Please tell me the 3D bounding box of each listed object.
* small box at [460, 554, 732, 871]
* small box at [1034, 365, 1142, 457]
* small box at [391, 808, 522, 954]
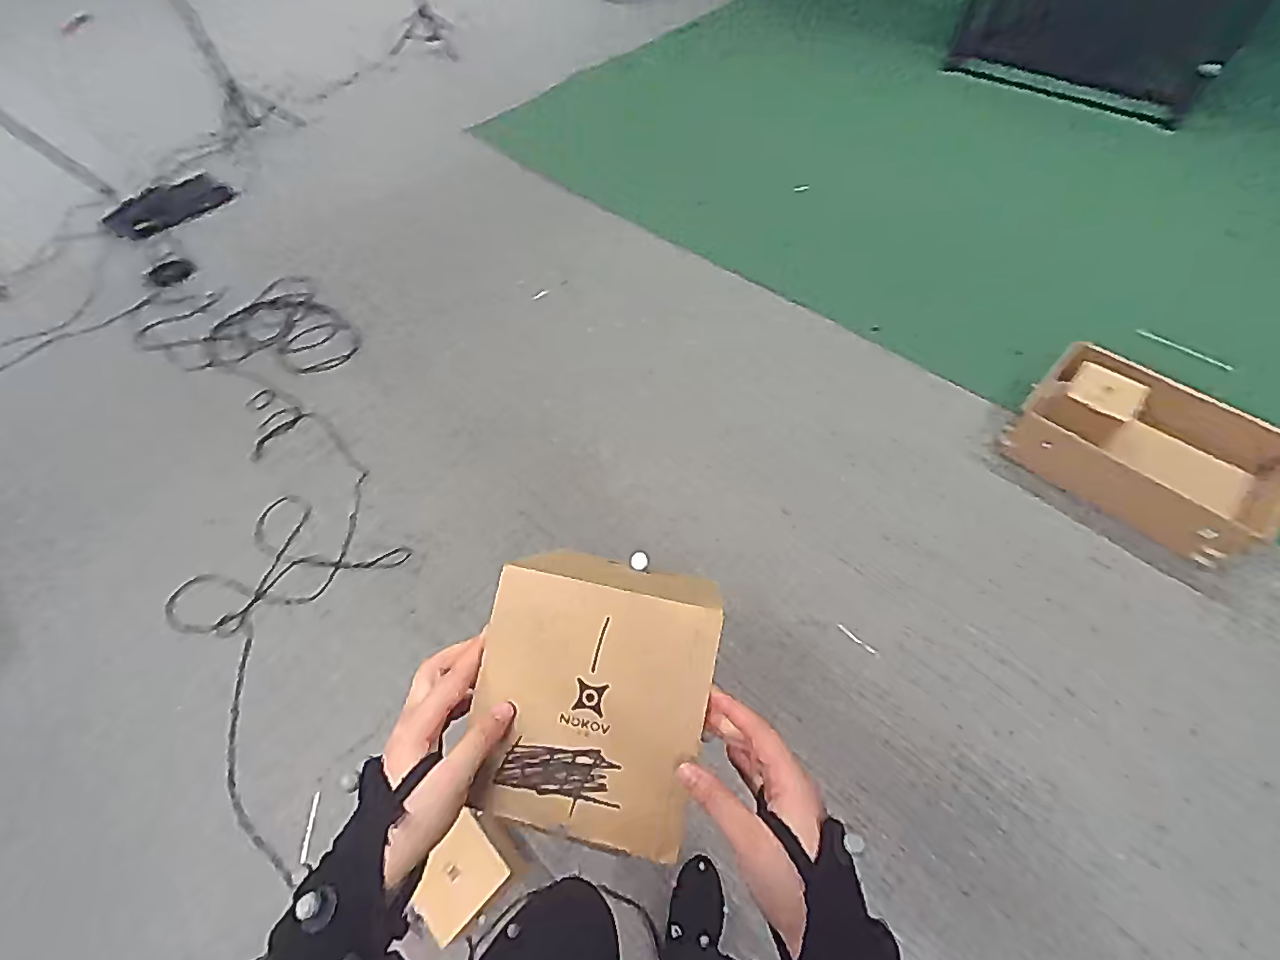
[{"bbox_3d":[-0.024,0.169,0.458,0.168,0.176,0.179,13,87,6],"label":"small box"},{"bbox_3d":[1.333,-0.204,1.622,0.168,0.176,0.179,36,66,23],"label":"small box"},{"bbox_3d":[-0.369,0.816,1.121,0.179,0.176,0.168,38,66,24],"label":"small box"}]
